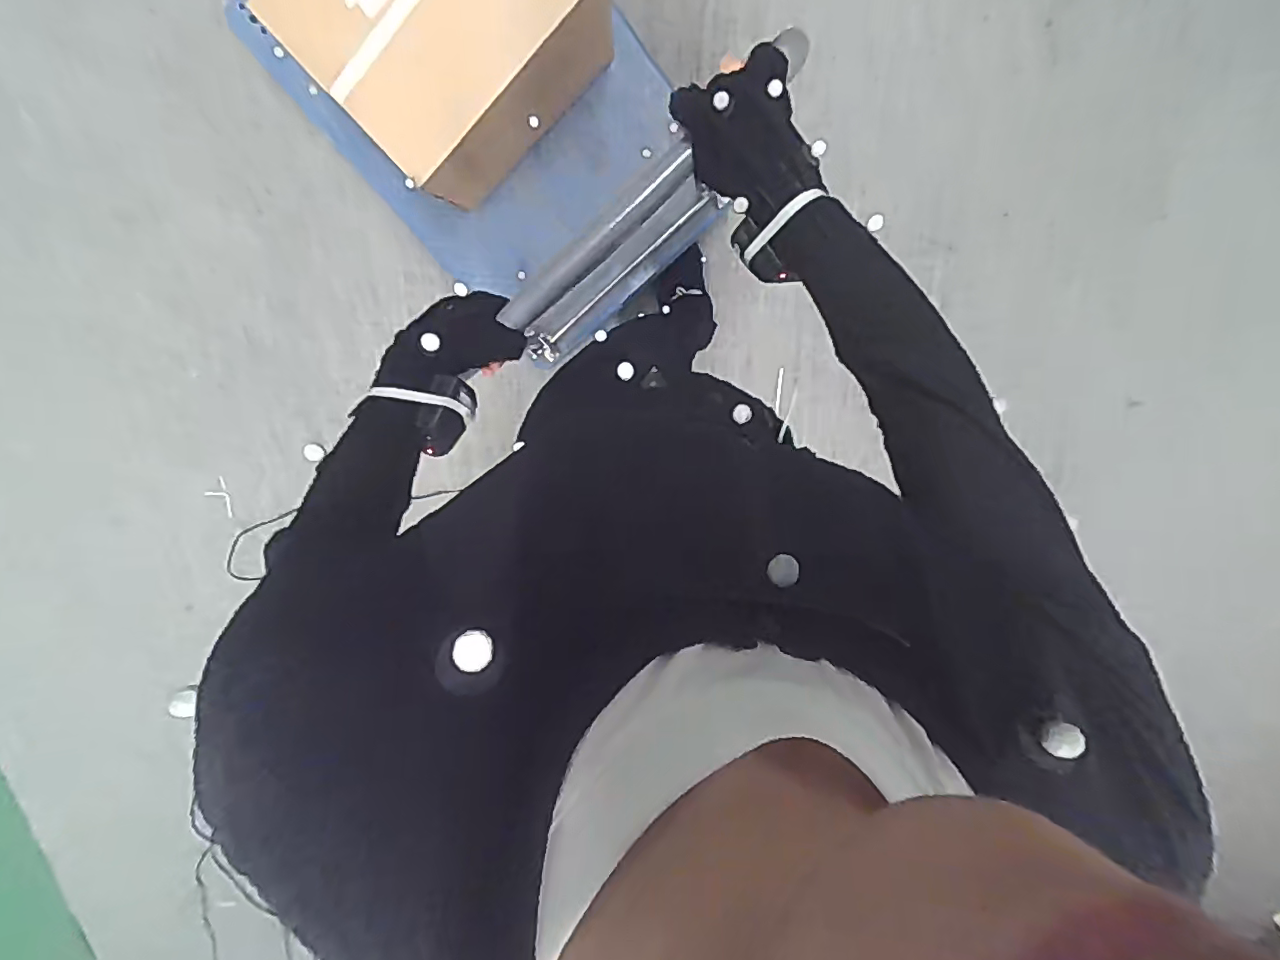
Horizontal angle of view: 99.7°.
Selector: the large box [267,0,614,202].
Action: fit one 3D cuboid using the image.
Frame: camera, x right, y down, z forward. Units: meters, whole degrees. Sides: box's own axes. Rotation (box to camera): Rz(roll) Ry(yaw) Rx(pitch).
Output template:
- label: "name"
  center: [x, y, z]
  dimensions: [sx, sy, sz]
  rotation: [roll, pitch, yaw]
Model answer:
- label: "large box"
  center: [-0.288, -0.749, 0.897]
  dimensions: [0.408, 0.320, 0.320]
  rotation: [-42, 105, 14]
